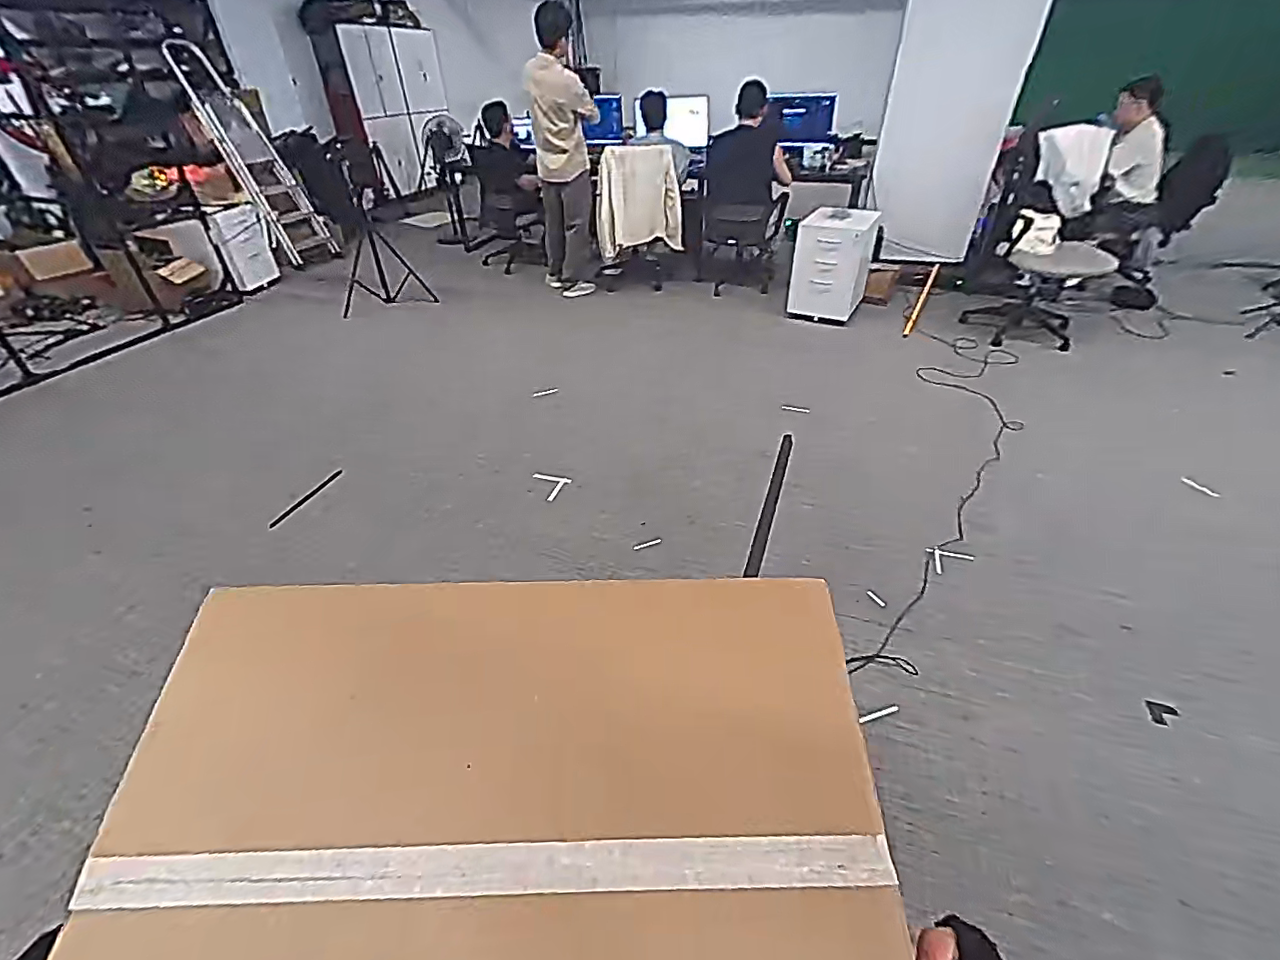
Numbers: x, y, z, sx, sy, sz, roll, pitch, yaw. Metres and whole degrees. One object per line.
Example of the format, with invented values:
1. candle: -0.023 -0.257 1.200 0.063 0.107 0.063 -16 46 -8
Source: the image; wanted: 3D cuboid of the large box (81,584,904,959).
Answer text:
1. large box: -0.072 0.285 0.405 0.408 0.320 0.320 -1 57 0
